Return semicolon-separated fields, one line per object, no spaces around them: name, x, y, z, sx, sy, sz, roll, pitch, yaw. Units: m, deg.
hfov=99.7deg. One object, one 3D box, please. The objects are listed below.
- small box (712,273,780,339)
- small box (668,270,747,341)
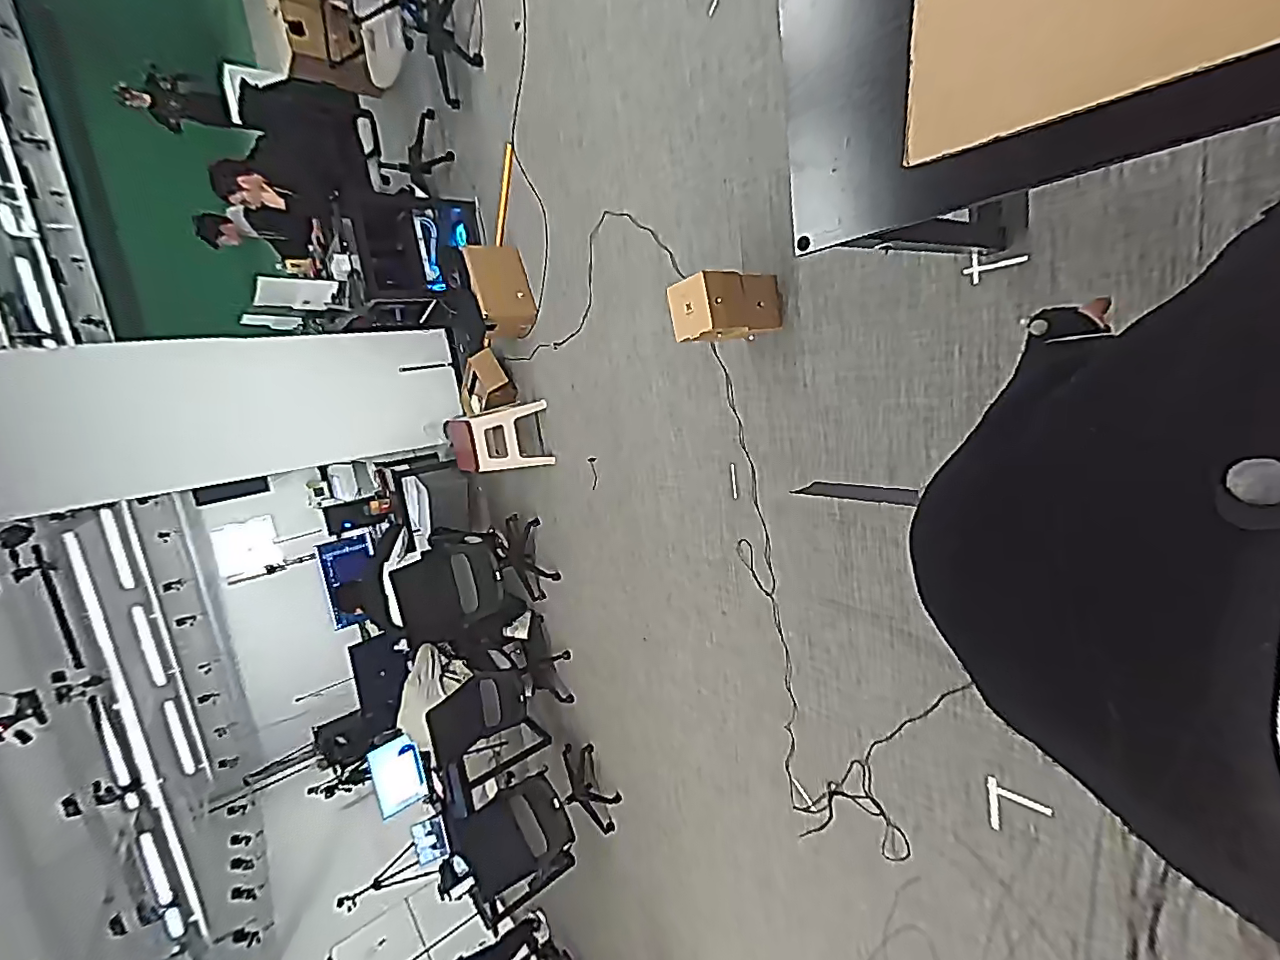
small box;0.342;-0.574;1.792;0.168;0.176;0.179;1;104;53
small box;0.214;-0.545;1.696;0.168;0.176;0.179;-5;98;52
